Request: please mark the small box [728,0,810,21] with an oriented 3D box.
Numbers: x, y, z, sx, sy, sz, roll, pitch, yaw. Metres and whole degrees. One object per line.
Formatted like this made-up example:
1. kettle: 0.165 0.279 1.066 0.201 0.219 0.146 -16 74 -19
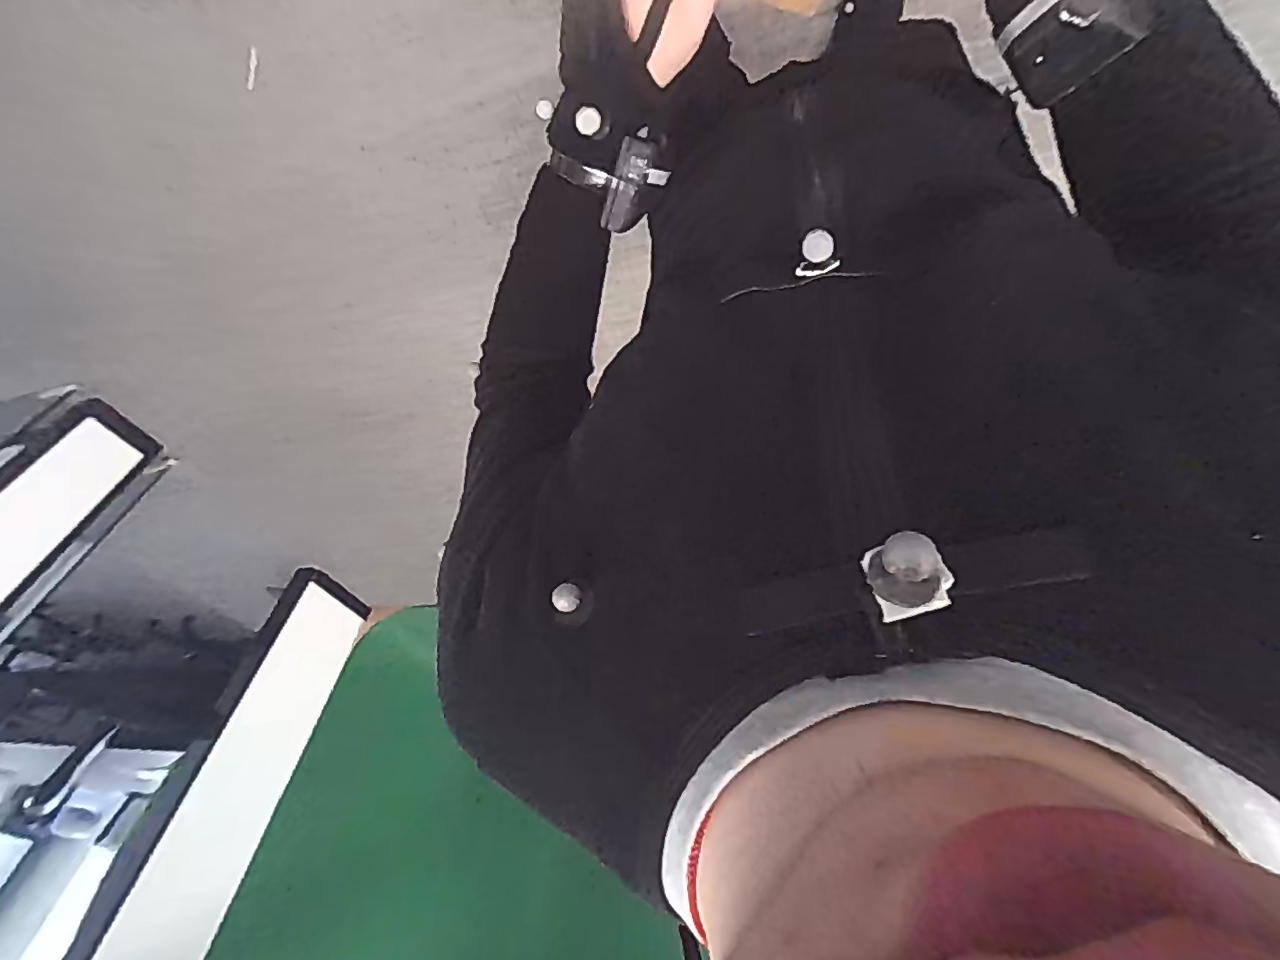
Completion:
1. small box: 0.067 -0.429 0.311 0.176 0.168 0.179 -31 85 55
